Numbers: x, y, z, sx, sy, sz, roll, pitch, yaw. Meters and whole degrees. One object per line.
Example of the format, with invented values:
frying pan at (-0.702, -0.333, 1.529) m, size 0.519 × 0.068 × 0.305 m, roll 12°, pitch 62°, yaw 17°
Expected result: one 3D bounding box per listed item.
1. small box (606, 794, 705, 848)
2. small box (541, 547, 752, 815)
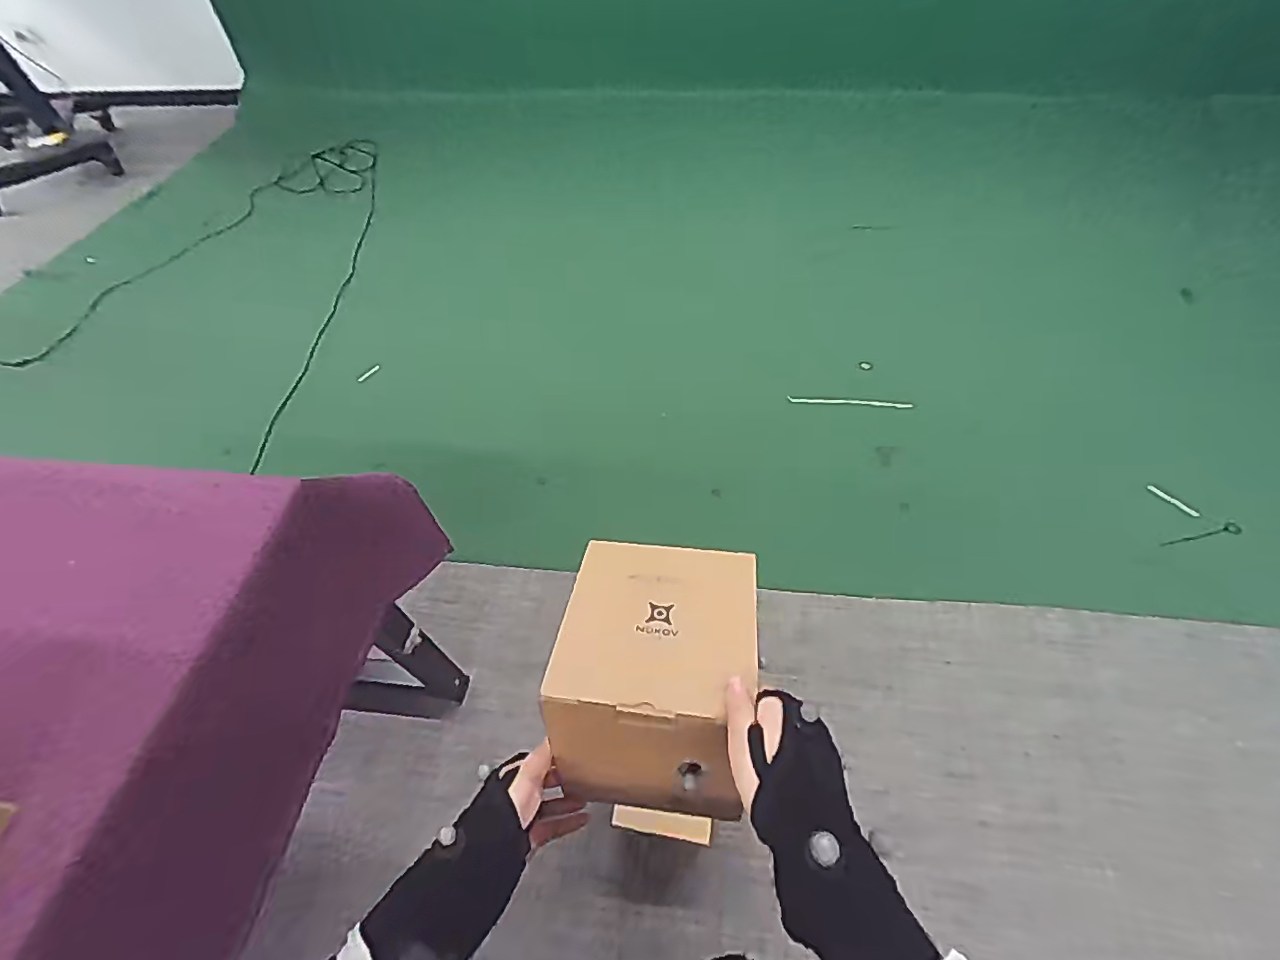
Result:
small box at (0.041, 0.563, 1.005) m, size 0.168 × 0.176 × 0.179 m, roll 8°, pitch 52°, yaw 7°
small box at (0.019, 0.190, 0.522) m, size 0.168 × 0.176 × 0.179 m, roll 4°, pitch 37°, yaw 8°
